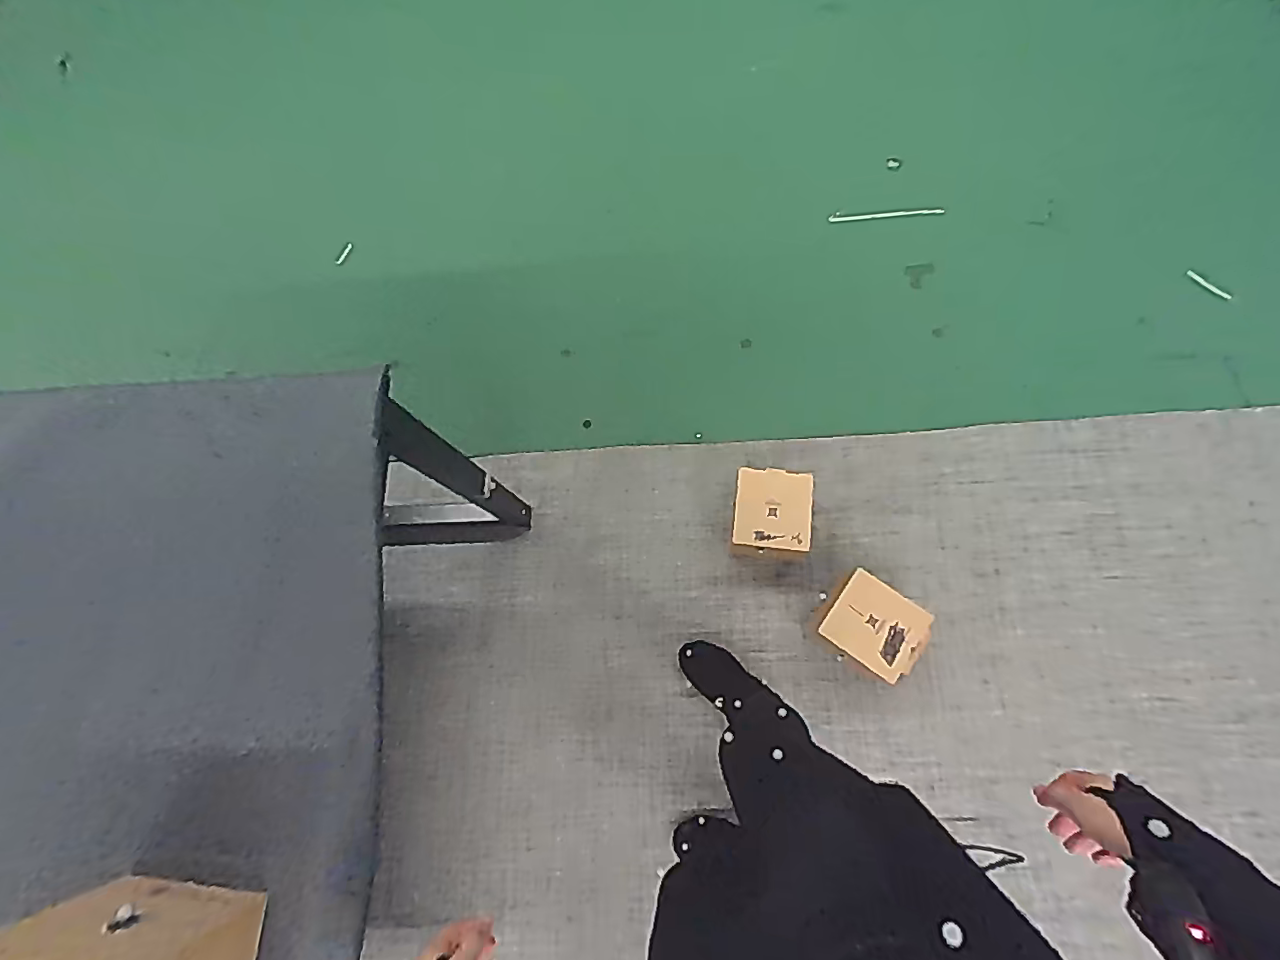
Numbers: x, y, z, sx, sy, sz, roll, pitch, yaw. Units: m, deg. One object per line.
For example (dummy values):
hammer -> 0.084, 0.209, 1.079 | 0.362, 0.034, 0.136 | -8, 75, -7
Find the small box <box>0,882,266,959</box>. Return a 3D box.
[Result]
small box -> -0.459, 0.475, 0.451 | 0.168, 0.176, 0.179 | 2, 75, 8

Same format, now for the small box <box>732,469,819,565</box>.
small box -> 0.307, 0.090, 1.251 | 0.168, 0.176, 0.179 | 6, 75, 6

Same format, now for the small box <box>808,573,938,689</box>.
small box -> 0.493, 0.322, 1.168 | 0.179, 0.176, 0.168 | 35, 80, 14
